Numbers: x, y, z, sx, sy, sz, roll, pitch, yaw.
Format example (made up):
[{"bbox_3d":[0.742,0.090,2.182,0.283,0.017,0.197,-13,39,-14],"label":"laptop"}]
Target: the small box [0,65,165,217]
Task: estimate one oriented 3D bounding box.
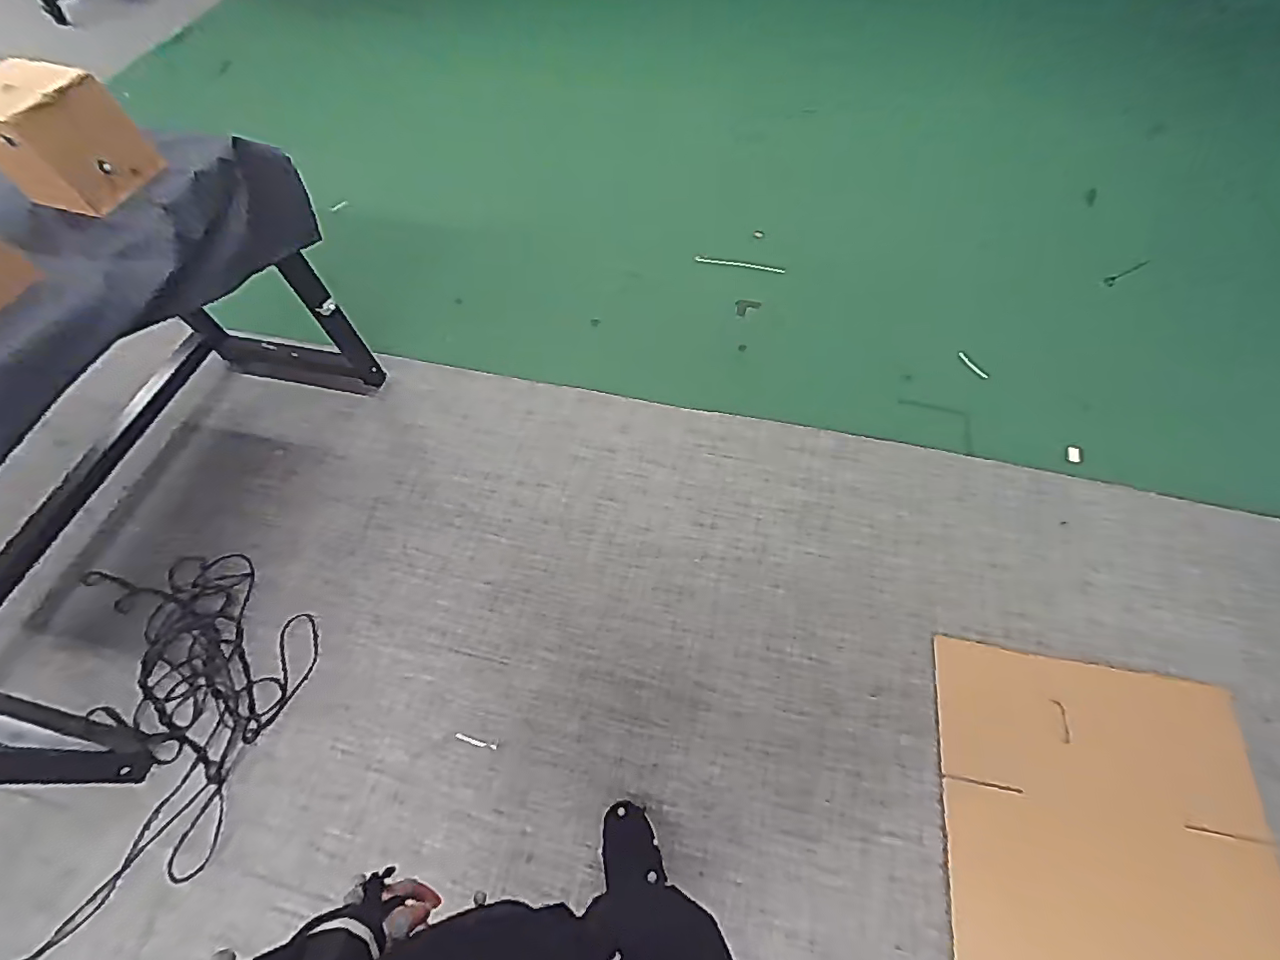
[{"bbox_3d":[-1.027,-0.599,0.963,0.179,0.176,0.168,15,62,11],"label":"small box"}]
